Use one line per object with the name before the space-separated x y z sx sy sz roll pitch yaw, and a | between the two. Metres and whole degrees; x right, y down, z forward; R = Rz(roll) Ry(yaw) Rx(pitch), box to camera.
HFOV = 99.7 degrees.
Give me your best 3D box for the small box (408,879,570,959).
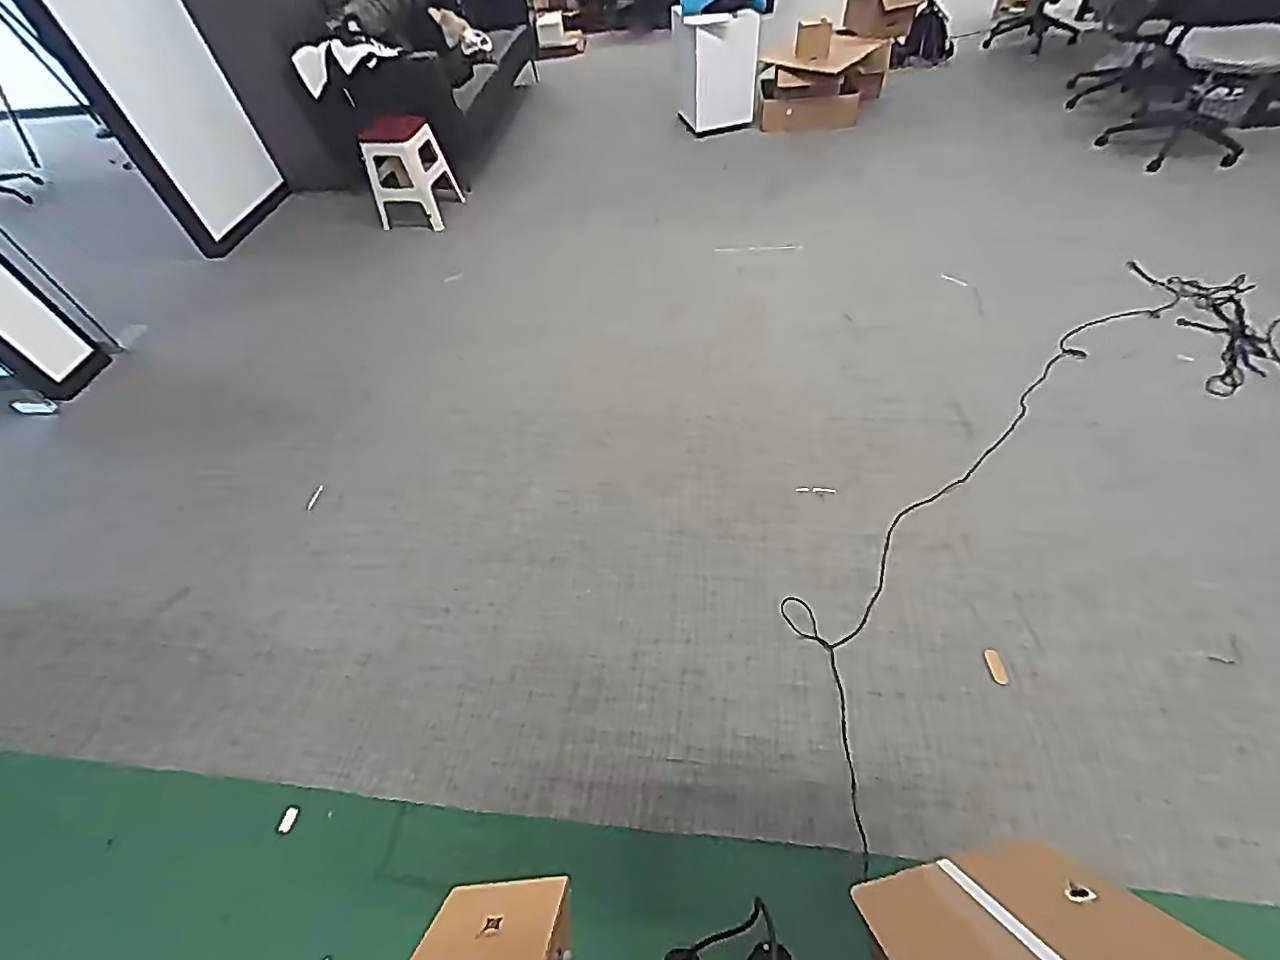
small box | -0.181 0.641 0.671 0.168 0.179 0.176 -6 85 2
